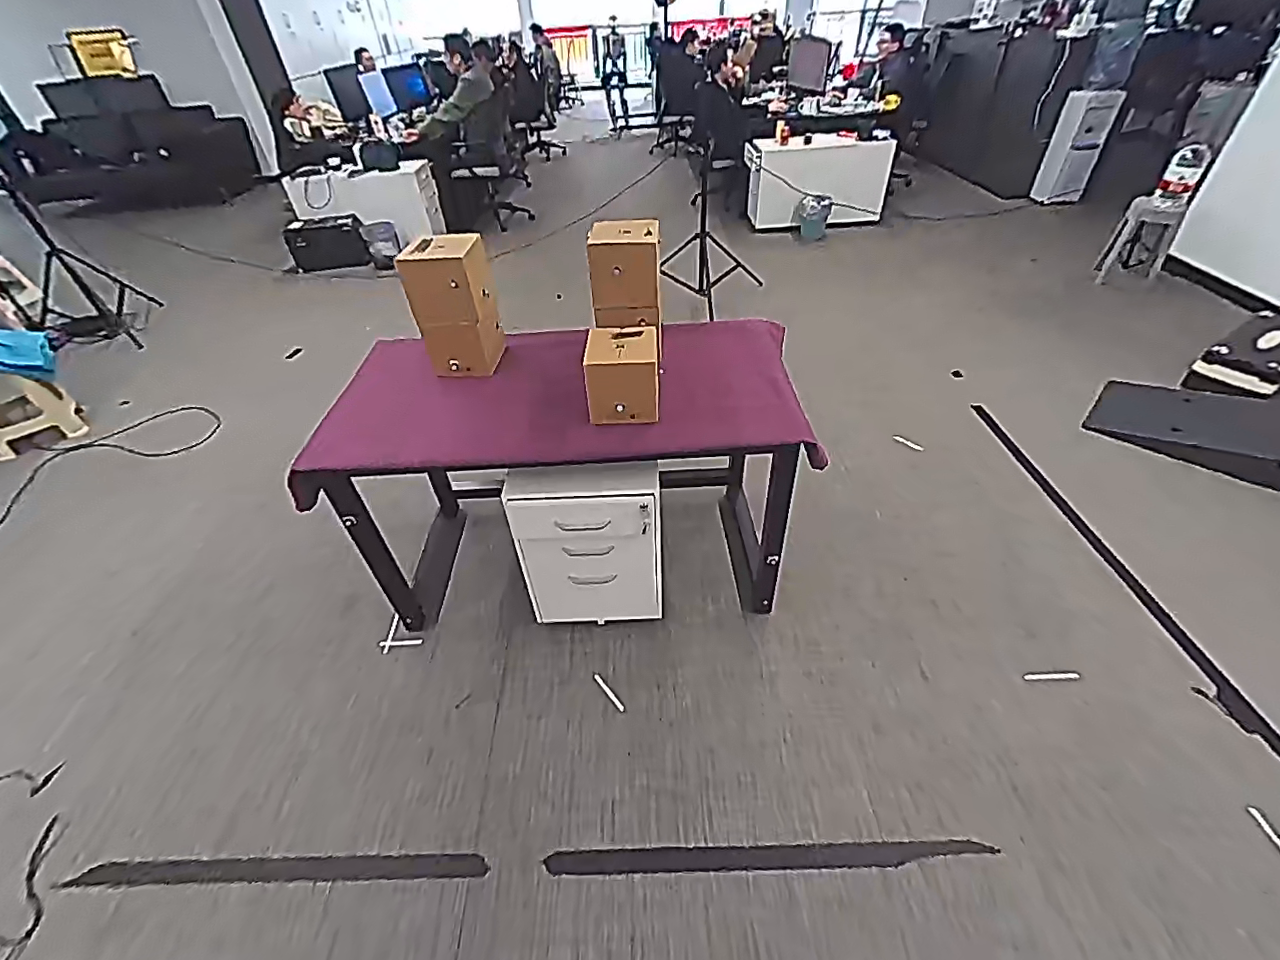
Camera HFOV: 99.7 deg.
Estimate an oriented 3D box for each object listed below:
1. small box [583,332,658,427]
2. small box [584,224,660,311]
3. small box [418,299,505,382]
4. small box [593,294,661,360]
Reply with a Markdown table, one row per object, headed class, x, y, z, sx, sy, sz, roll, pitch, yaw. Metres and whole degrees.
| class | x | y | z | sx | sy | sz | roll | pitch | yaw |
| --- | --- | --- | --- | --- | --- | --- | --- | --- | --- |
| small box | -0.041 | -0.247 | 1.324 | 0.168 | 0.176 | 0.179 | -2 | 41 | 3 |
| small box | -0.040 | -0.558 | 1.428 | 0.179 | 0.176 | 0.168 | -1 | 43 | 5 |
| small box | -0.494 | -0.395 | 1.529 | 0.168 | 0.176 | 0.179 | 0 | 44 | 6 |
| small box | -0.030 | -0.435 | 1.536 | 0.179 | 0.176 | 0.168 | -1 | 42 | 4 |
